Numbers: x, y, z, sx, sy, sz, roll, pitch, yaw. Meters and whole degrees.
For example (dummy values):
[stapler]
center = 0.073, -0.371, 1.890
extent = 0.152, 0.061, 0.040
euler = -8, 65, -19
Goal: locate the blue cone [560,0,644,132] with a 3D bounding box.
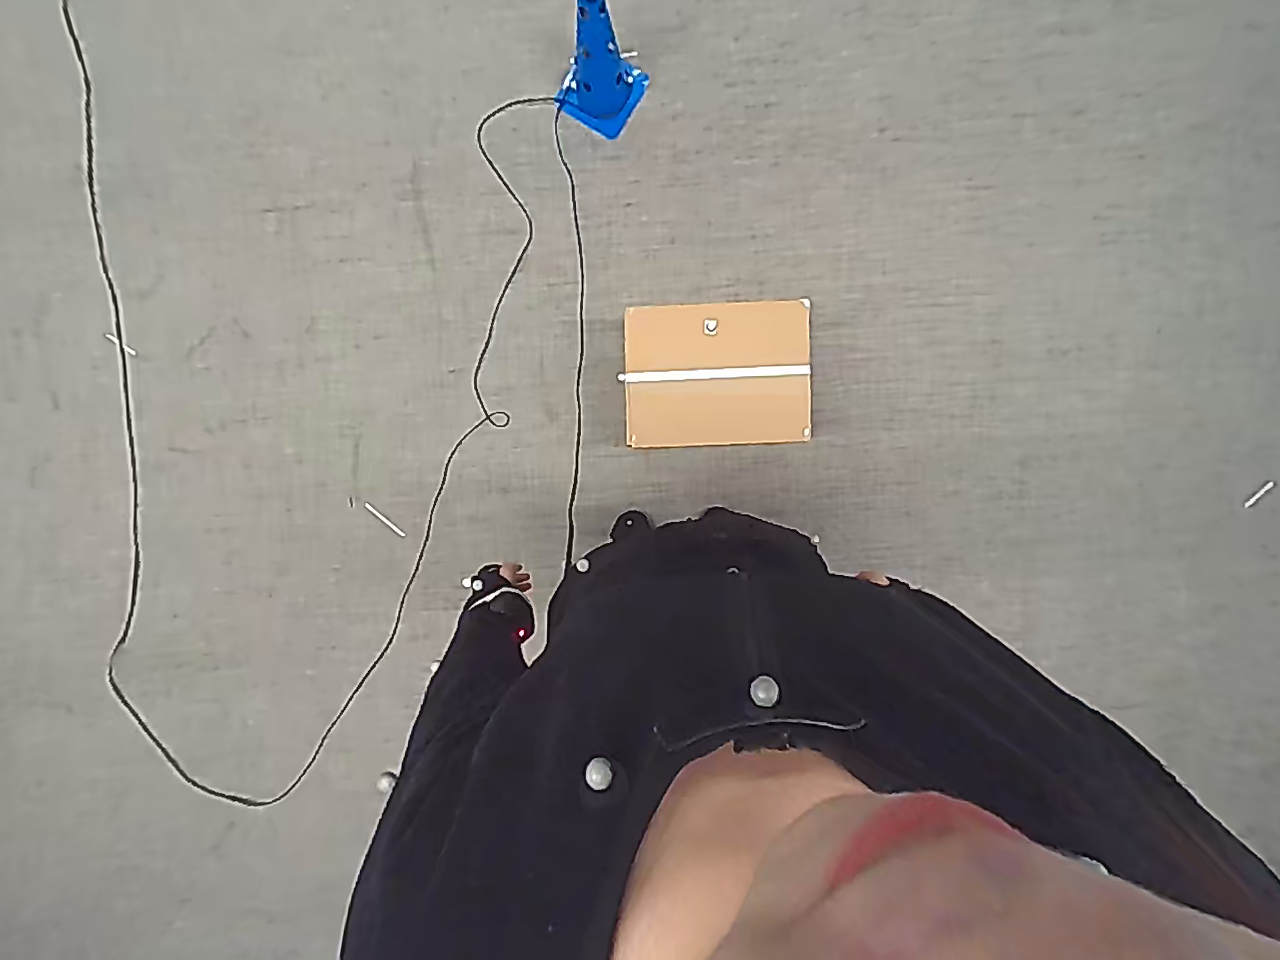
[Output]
[blue cone]
center = -0.102, -1.041, 1.273
extent = 0.192, 0.380, 0.193
euler = 29, 91, -1
